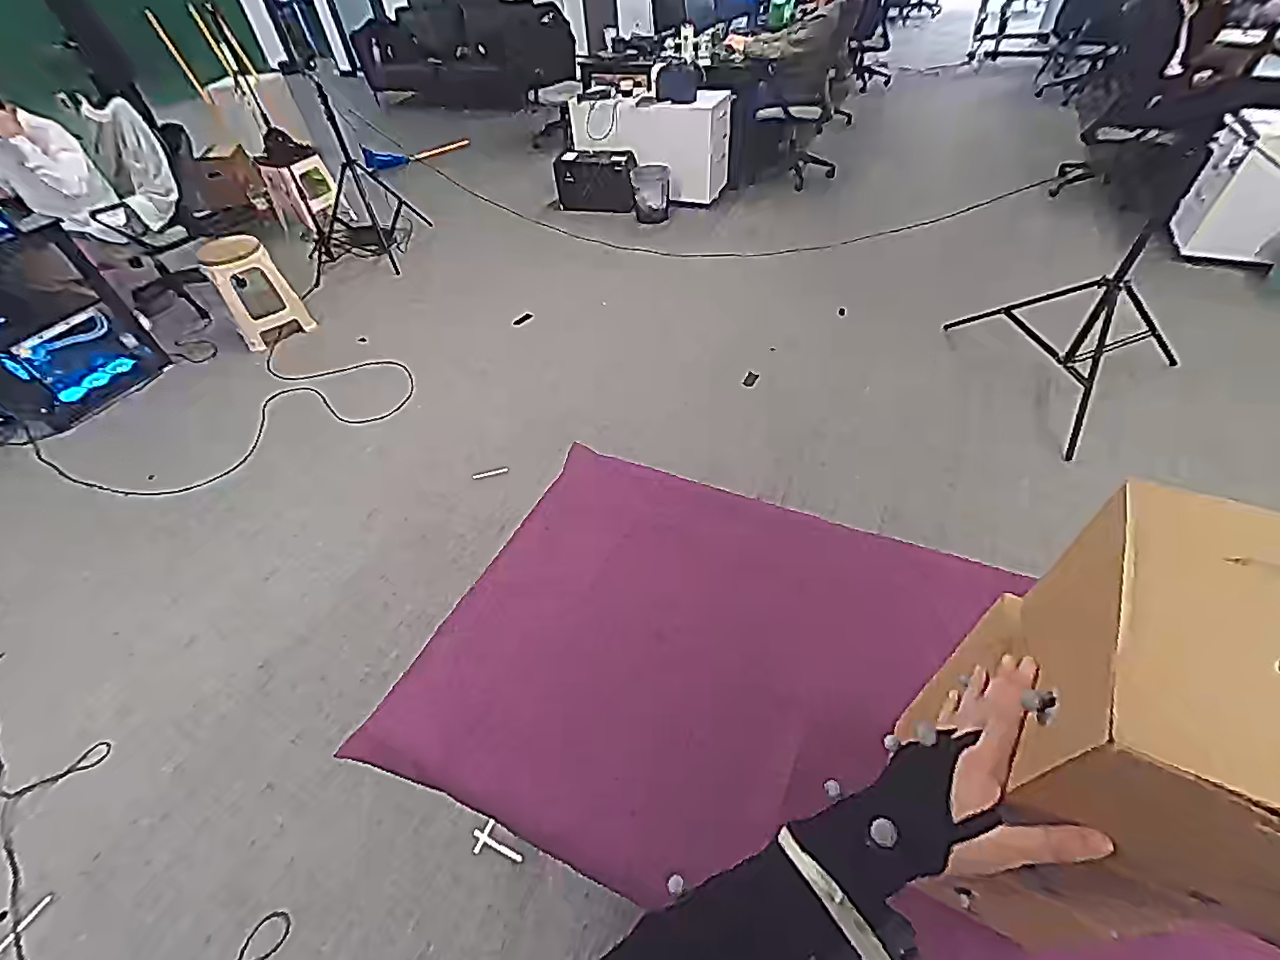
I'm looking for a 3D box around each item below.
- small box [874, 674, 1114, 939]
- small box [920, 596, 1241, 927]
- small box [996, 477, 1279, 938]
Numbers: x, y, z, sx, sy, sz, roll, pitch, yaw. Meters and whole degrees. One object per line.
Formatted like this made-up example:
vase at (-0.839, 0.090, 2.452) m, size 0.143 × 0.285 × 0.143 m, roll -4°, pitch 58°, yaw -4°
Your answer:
small box at (0.369, 0.353, 0.585) m, size 0.168 × 0.176 × 0.179 m, roll 20°, pitch 51°, yaw 21°
small box at (0.363, 0.239, 0.467) m, size 0.168 × 0.176 × 0.179 m, roll 19°, pitch 52°, yaw 21°
small box at (0.337, 0.134, 0.318) m, size 0.168 × 0.176 × 0.179 m, roll 19°, pitch 56°, yaw 24°
